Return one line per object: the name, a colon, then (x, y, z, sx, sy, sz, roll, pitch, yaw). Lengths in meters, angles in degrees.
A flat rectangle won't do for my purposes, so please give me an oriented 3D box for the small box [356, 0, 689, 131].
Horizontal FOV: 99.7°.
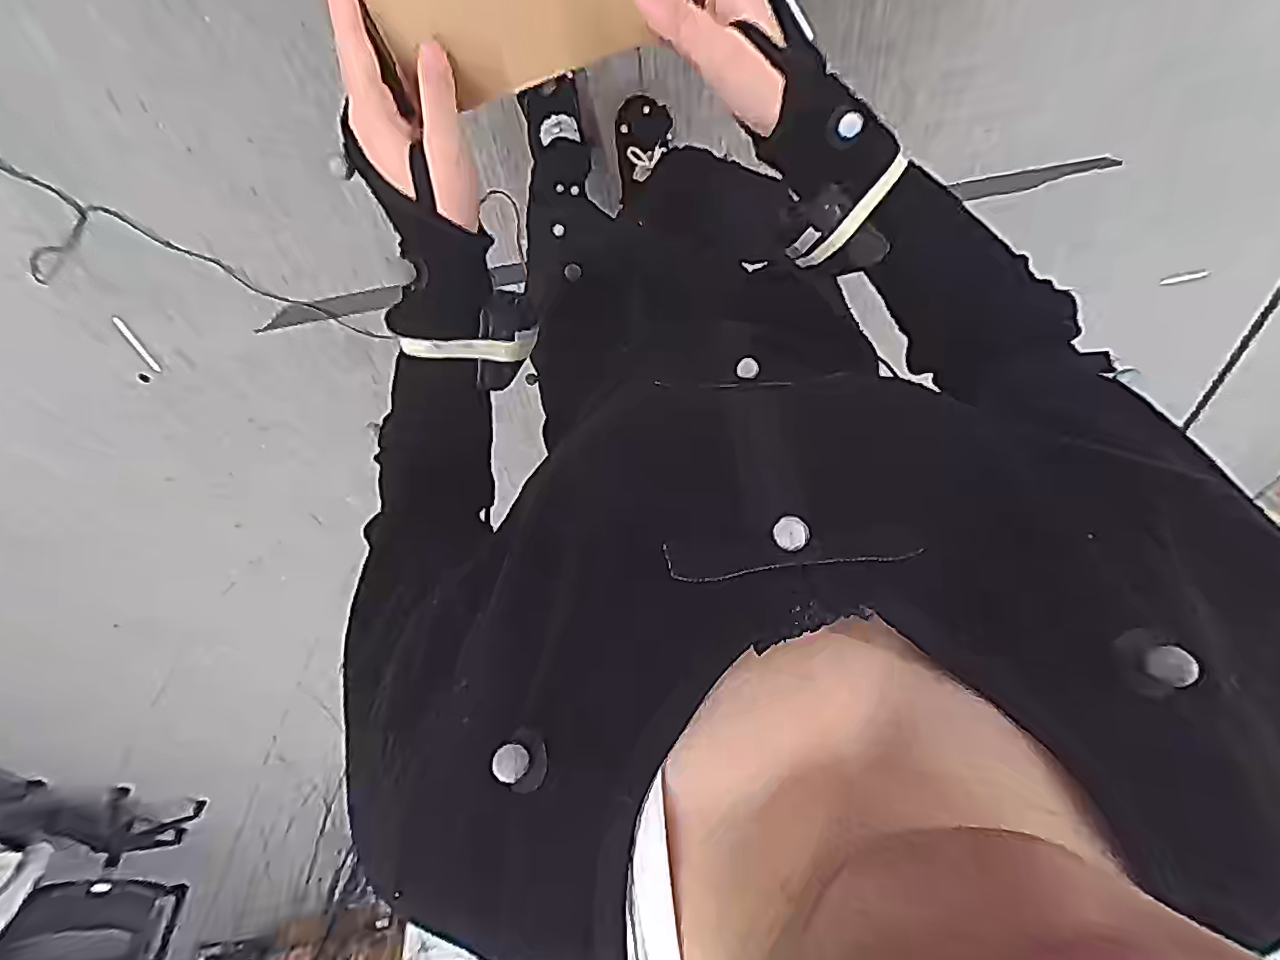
small box: (-0.090, -0.347, 0.321, 0.179, 0.176, 0.168, -21, 138, 3)
